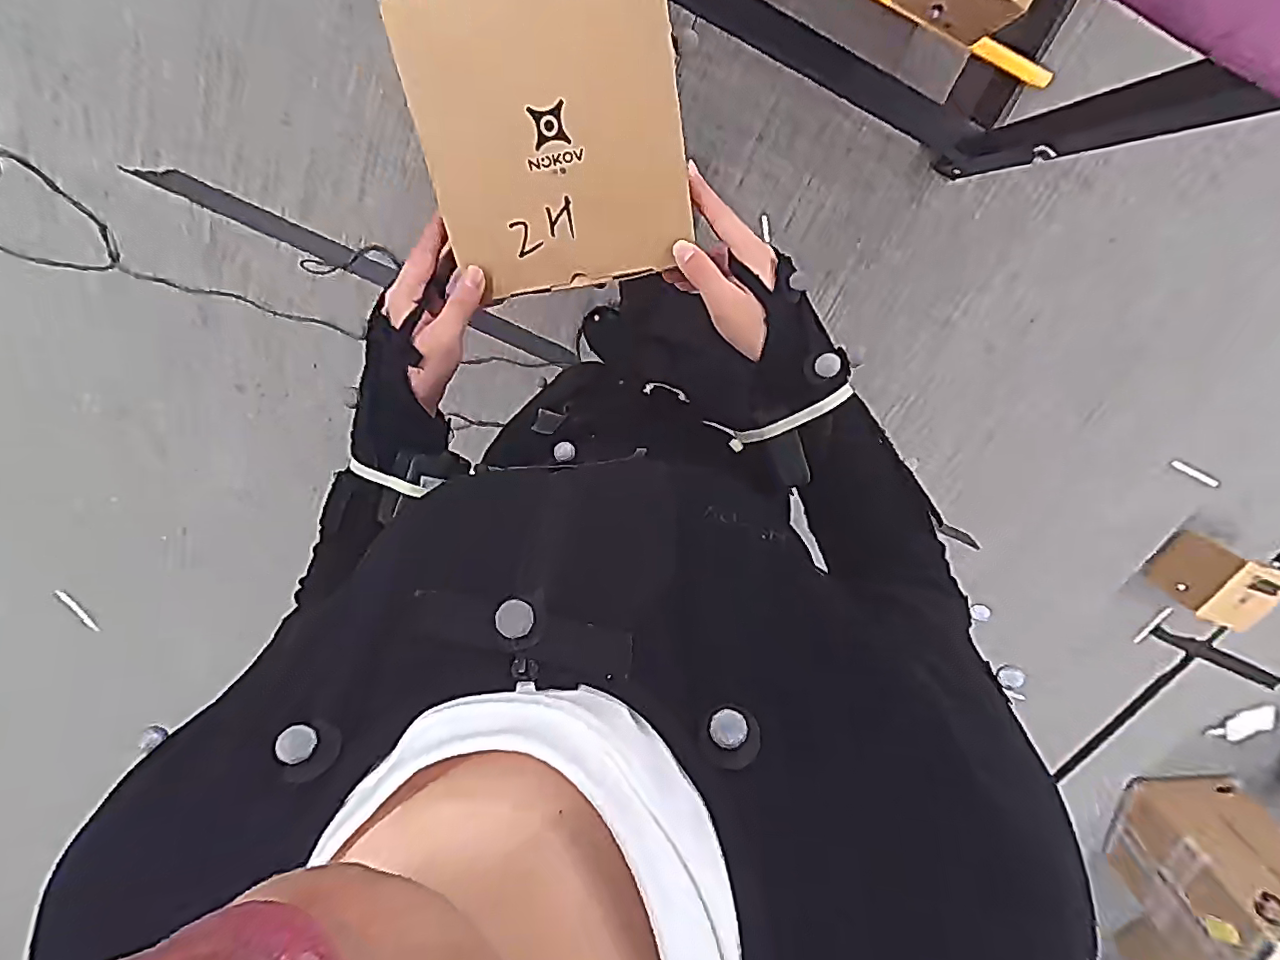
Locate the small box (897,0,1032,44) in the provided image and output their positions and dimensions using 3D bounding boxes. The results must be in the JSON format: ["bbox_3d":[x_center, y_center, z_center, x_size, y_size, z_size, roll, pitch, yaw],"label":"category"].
[{"bbox_3d":[0.533,-0.828,0.830,0.168,0.176,0.179,22,114,-8],"label":"small box"}]

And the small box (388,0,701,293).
[{"bbox_3d":[-0.050,-0.249,0.401,0.168,0.176,0.179,-7,116,6],"label":"small box"}]
